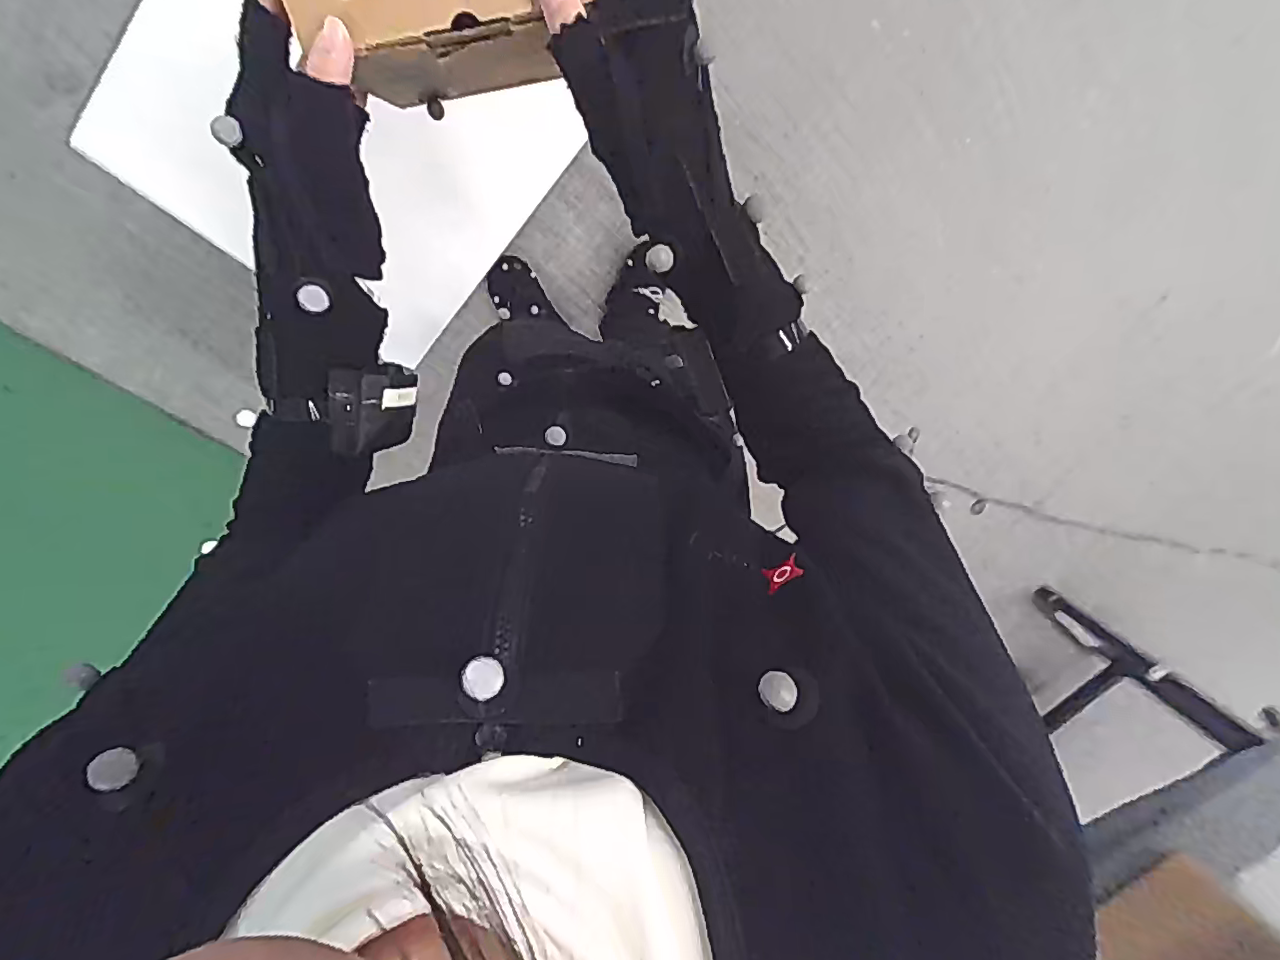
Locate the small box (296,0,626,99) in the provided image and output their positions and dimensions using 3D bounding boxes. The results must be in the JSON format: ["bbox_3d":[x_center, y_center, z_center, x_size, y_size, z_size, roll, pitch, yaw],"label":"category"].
[{"bbox_3d":[-0.103,-0.338,0.307,0.168,0.176,0.179,-10,117,0],"label":"small box"}]
